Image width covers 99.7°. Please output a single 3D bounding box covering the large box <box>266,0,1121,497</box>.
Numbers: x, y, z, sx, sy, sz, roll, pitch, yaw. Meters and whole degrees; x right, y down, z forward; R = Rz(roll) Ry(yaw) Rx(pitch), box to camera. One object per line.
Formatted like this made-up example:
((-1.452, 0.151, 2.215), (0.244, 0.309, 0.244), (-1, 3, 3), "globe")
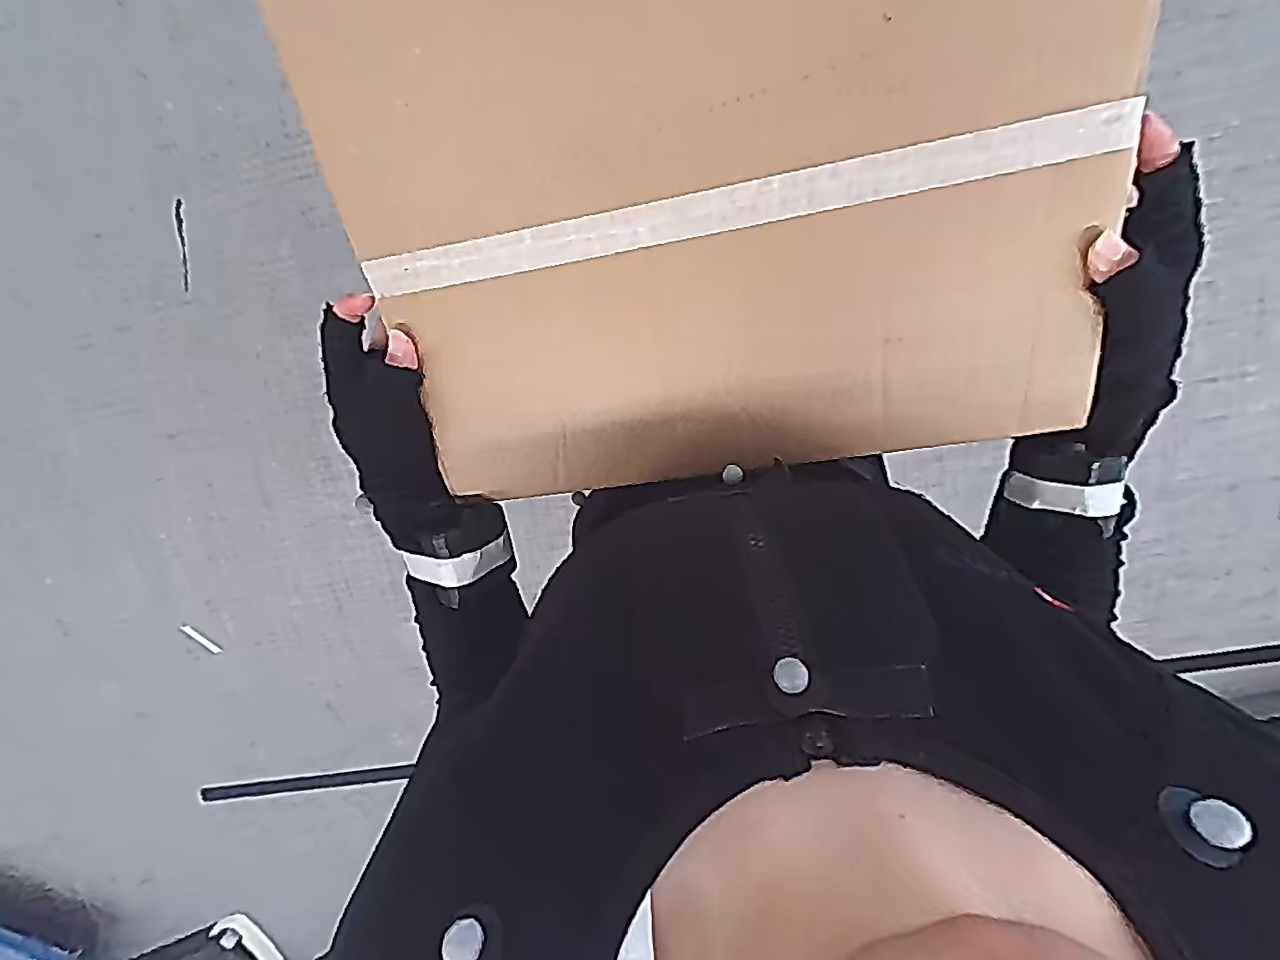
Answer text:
((0.046, -0.217, 0.429), (0.408, 0.320, 0.320), (-7, 115, 9), "large box")
